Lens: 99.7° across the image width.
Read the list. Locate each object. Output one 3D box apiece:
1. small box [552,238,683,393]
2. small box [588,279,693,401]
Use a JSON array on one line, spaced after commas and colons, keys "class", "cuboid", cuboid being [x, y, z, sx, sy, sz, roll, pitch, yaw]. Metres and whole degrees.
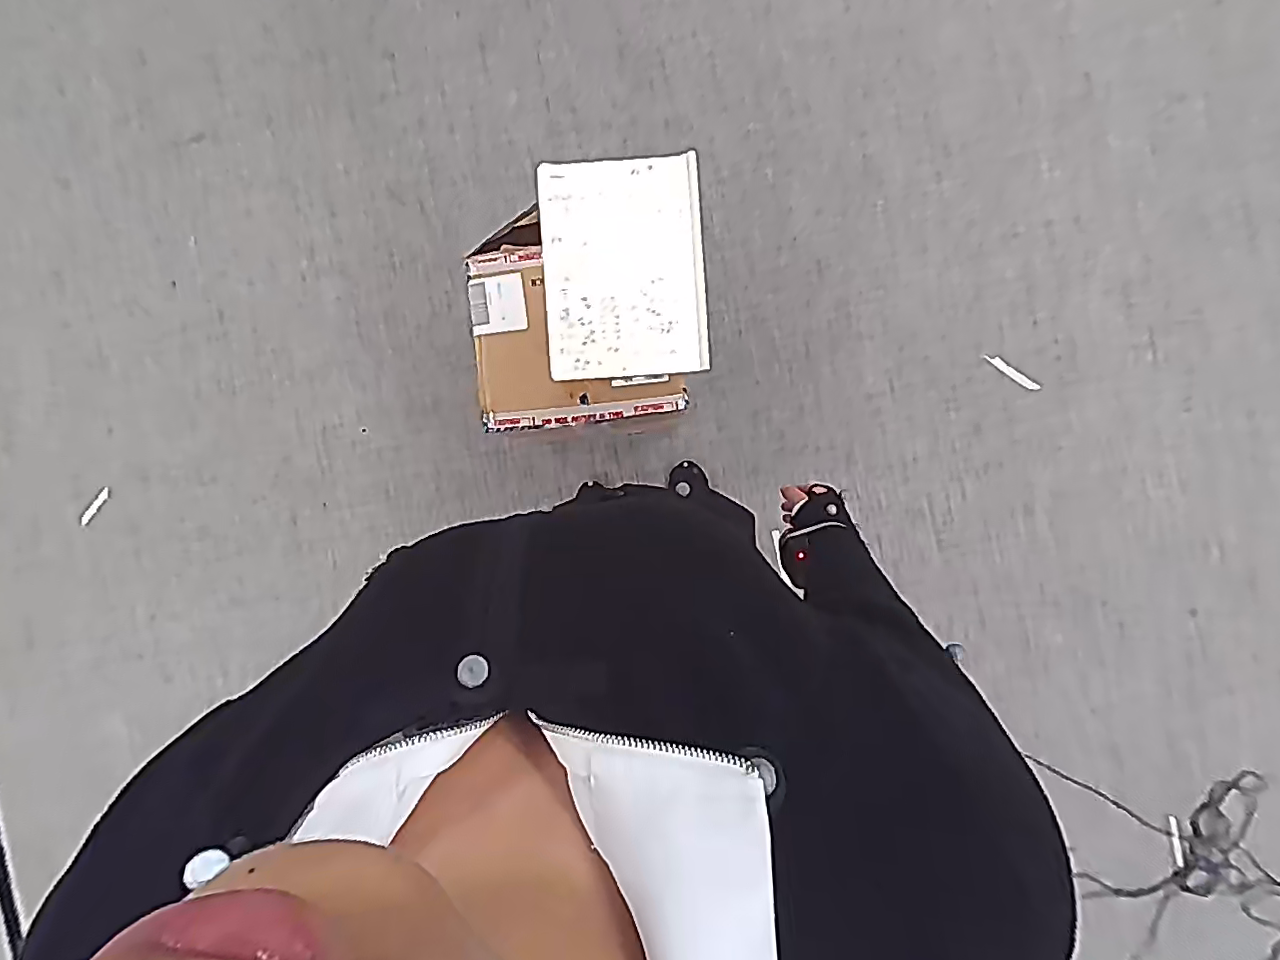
[{"class": "small box", "cuboid": [-0.031, -0.225, 0.777, 0.168, 0.176, 0.179, -4, 93, 0]}, {"class": "small box", "cuboid": [-0.011, -0.236, 0.941, 0.179, 0.176, 0.168, -8, 92, 1]}]
